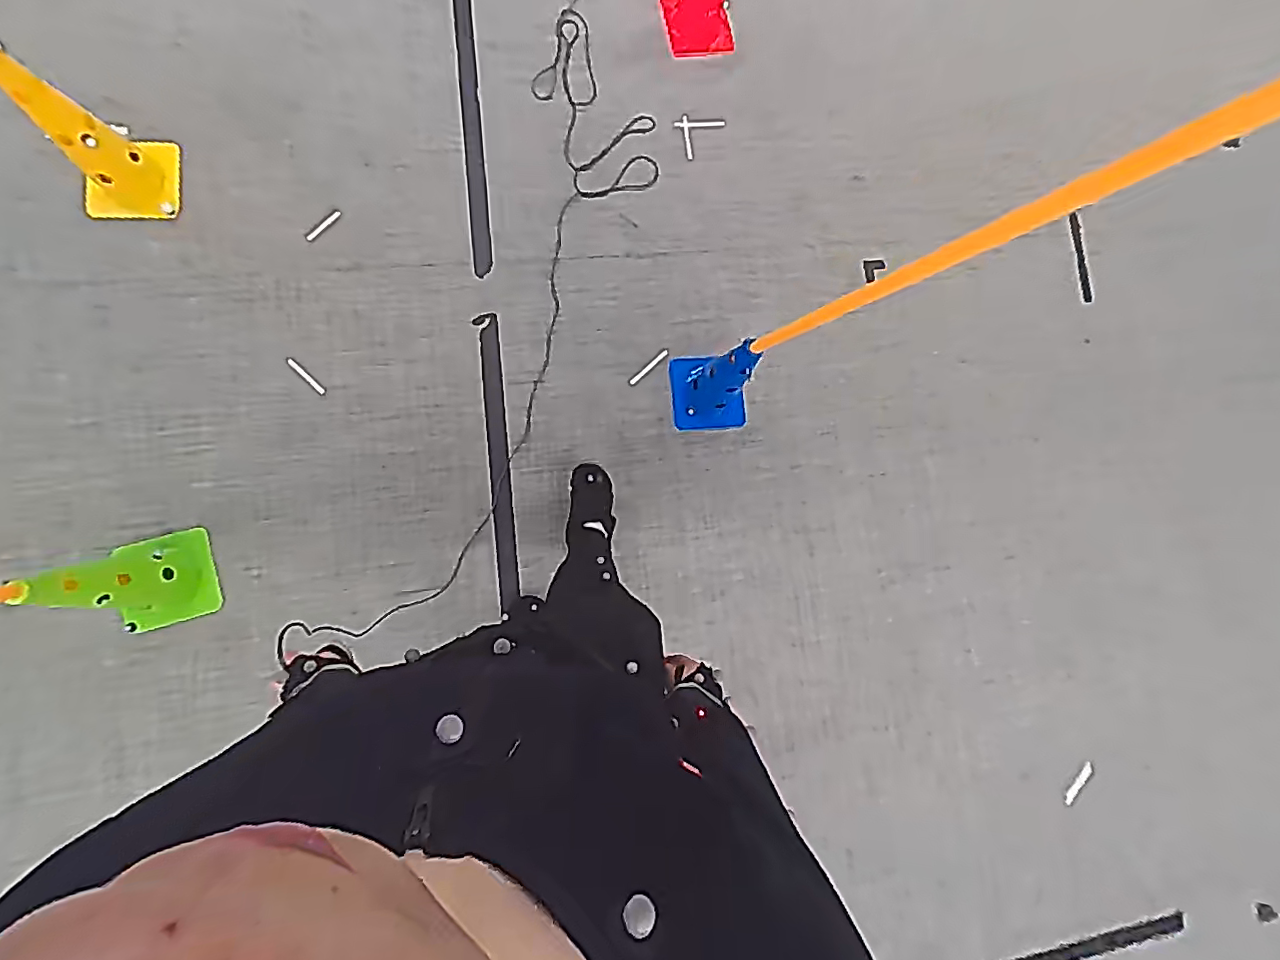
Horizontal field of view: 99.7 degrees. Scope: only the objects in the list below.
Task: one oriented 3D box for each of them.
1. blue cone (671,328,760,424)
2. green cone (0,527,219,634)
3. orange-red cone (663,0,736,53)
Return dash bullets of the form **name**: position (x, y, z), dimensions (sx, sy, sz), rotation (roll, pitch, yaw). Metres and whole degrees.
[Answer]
- **blue cone**: position (0.209, -0.268, 1.309), dimensions (0.193, 0.380, 0.192), rotation (-3, 83, -9)
- **green cone**: position (-1.047, 0.200, 1.052), dimensions (0.200, 0.368, 0.202), rotation (-16, 84, -10)
- **orange-red cone**: position (0.199, -1.373, 1.425), dimensions (0.199, 0.360, 0.198), rotation (-11, 85, -8)
